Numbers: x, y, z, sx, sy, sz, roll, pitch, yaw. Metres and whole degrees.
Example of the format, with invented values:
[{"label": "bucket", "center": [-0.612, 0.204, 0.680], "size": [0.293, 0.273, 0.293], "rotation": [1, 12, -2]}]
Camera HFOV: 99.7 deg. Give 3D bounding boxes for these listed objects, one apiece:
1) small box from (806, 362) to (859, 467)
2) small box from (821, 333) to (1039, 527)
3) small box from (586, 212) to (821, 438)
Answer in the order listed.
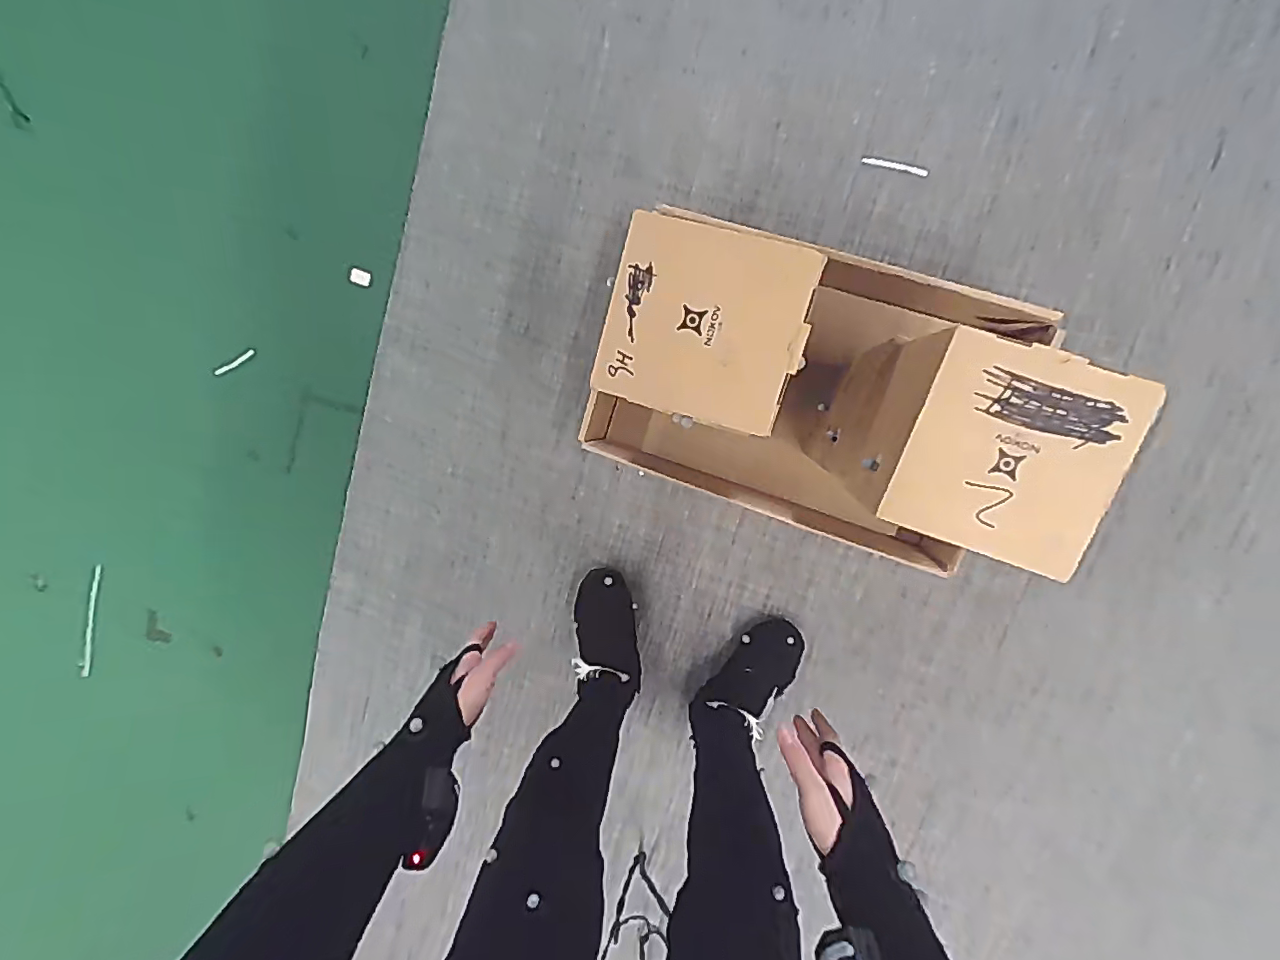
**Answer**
[{"label": "small box", "center": [0.377, -0.079, 0.841], "size": [0.179, 0.176, 0.168], "rotation": [22, 100, 8]}, {"label": "small box", "center": [0.343, -0.065, 0.684], "size": [0.168, 0.176, 0.179], "rotation": [22, 101, 8]}, {"label": "small box", "center": [0.065, -0.149, 0.563], "size": [0.179, 0.176, 0.168], "rotation": [17, 99, 8]}]
